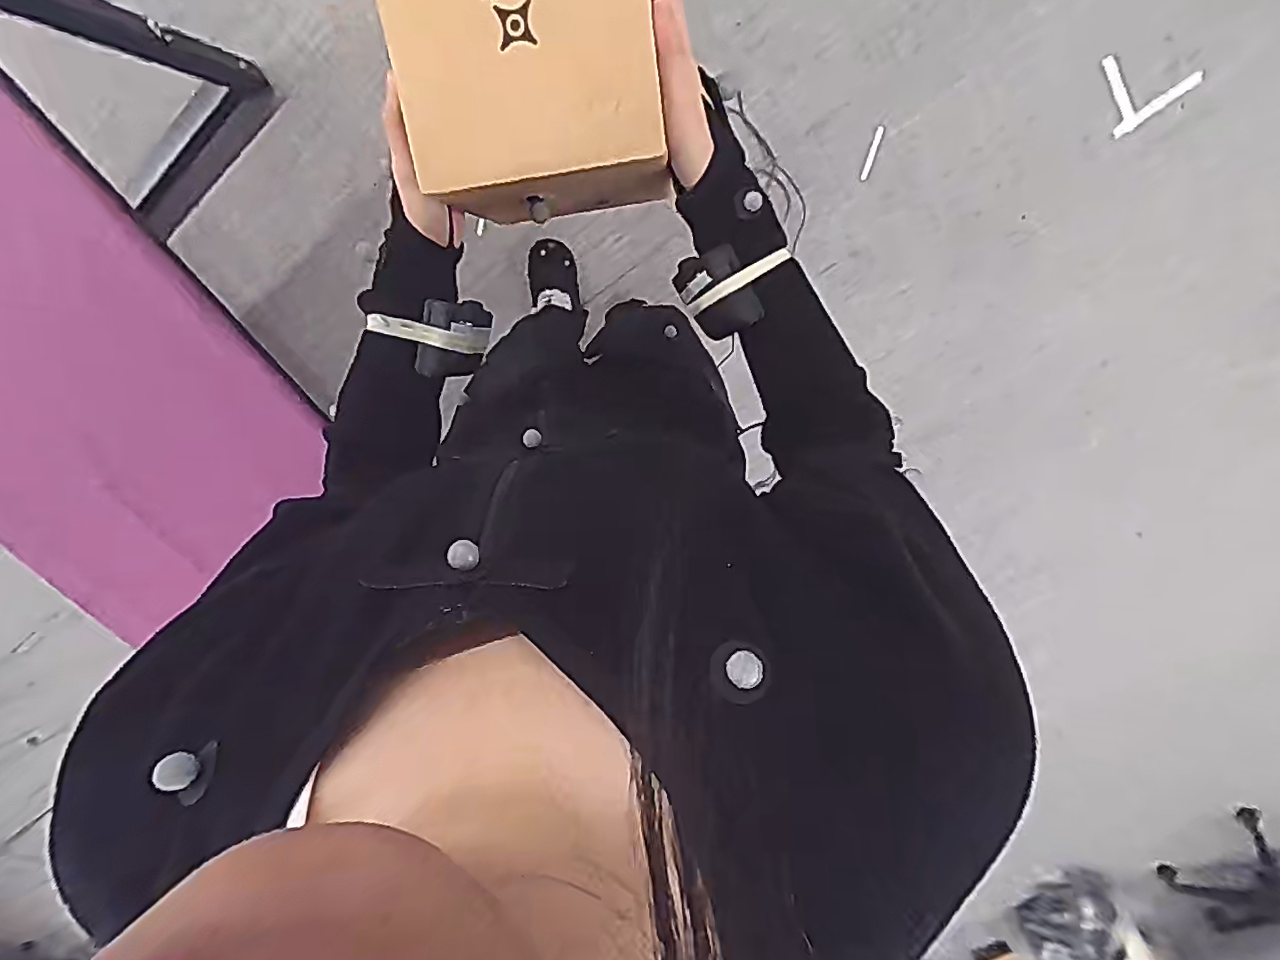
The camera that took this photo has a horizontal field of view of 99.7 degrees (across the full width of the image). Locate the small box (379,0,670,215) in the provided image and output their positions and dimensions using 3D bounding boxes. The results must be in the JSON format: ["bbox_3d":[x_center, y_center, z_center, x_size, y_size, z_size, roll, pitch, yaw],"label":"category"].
[{"bbox_3d":[-0.068,-0.305,0.398,0.168,0.176,0.179,-5,107,6],"label":"small box"}]
